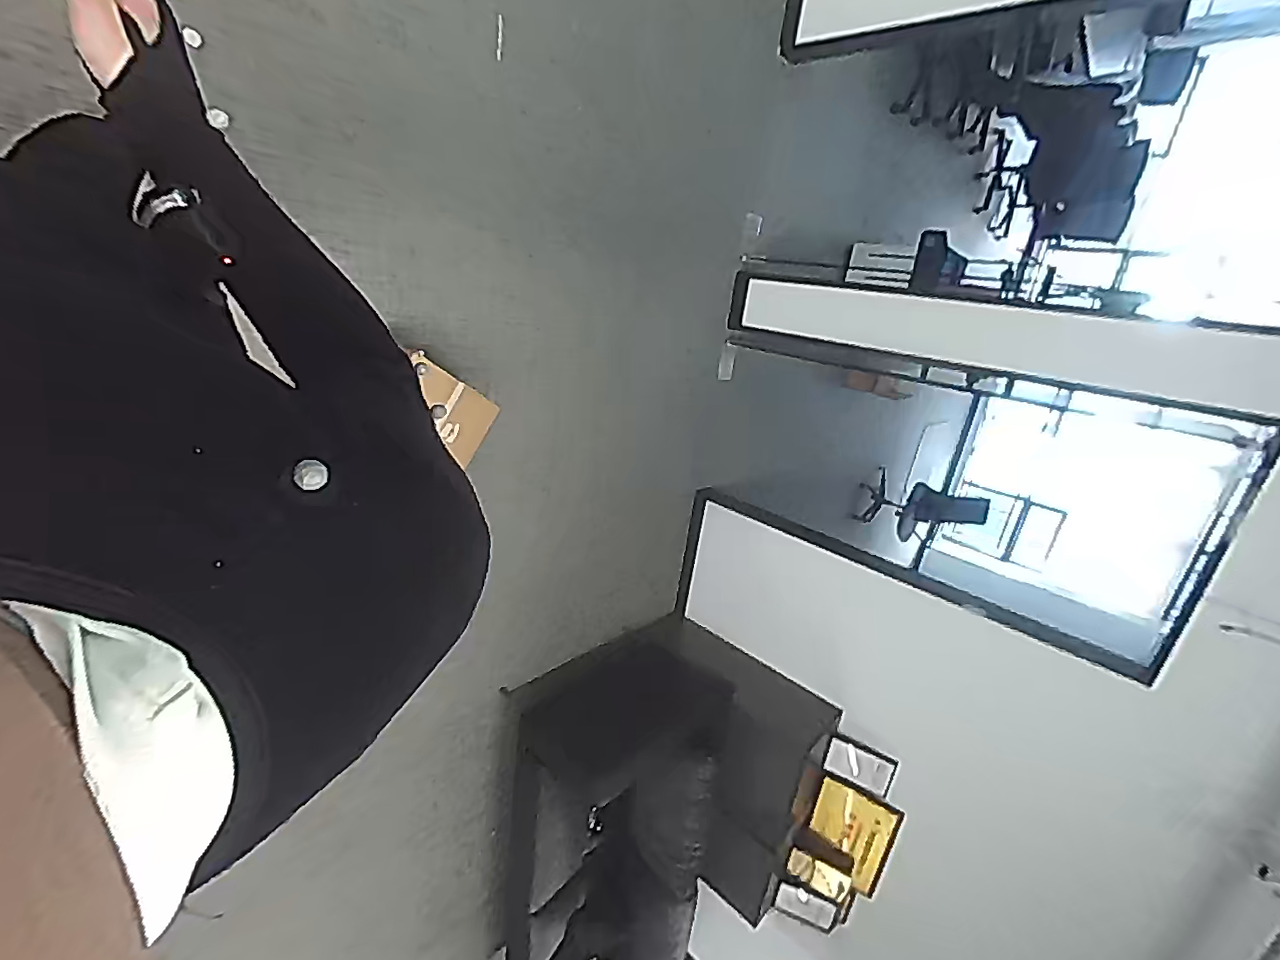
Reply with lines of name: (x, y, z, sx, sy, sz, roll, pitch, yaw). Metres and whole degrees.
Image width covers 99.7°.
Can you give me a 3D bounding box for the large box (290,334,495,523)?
large box: (-0.700, -0.145, 1.539, 0.320, 0.320, 0.408, 37, 79, -53)
